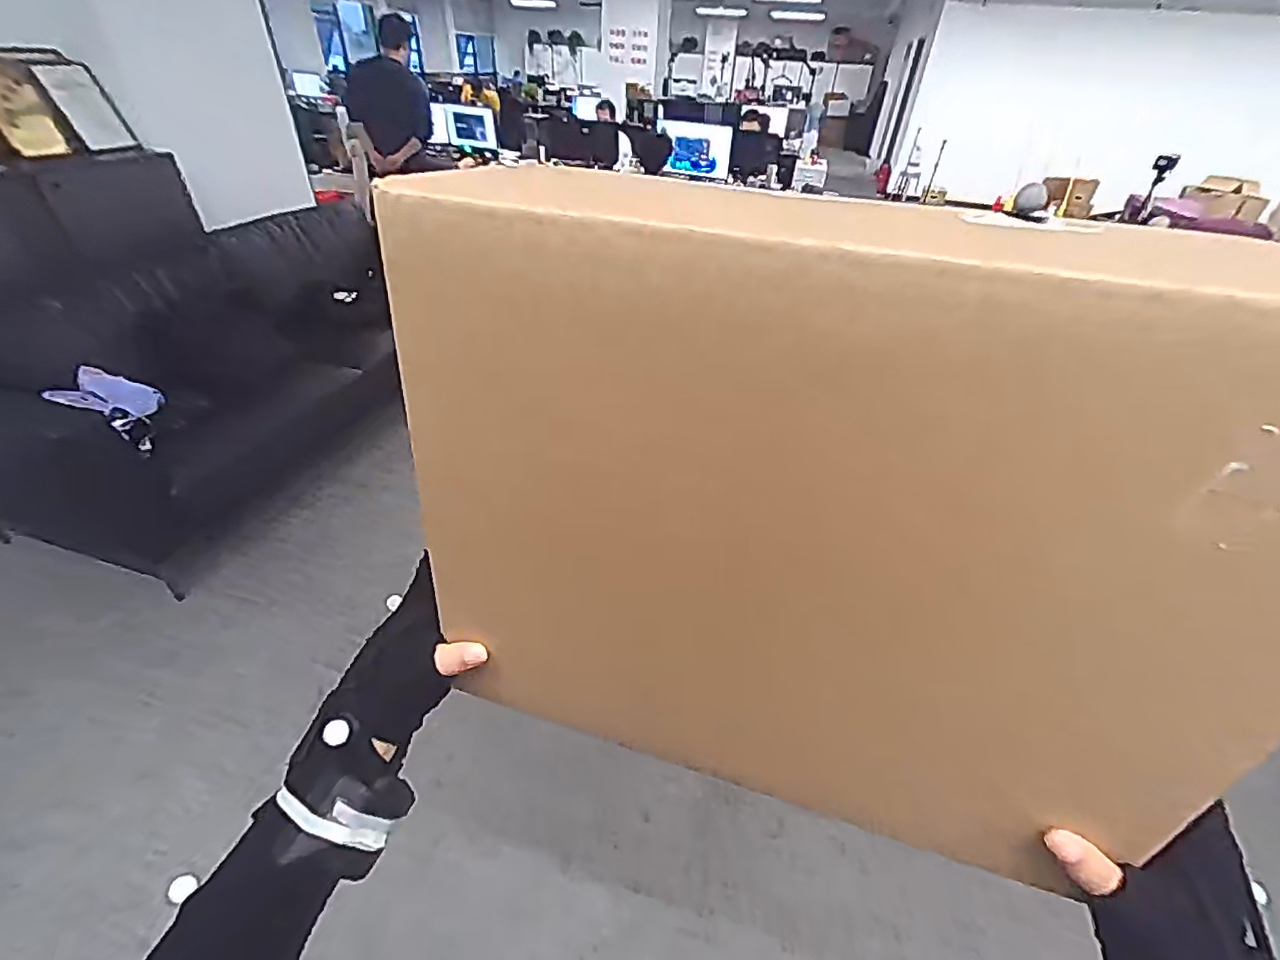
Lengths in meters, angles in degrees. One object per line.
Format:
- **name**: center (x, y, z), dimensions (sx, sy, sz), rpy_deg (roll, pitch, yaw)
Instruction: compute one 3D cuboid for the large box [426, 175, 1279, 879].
- **large box**: center (0.119, -0.014, 0.388), dimensions (0.408, 0.320, 0.320), rpy_deg (14, 32, 11)
